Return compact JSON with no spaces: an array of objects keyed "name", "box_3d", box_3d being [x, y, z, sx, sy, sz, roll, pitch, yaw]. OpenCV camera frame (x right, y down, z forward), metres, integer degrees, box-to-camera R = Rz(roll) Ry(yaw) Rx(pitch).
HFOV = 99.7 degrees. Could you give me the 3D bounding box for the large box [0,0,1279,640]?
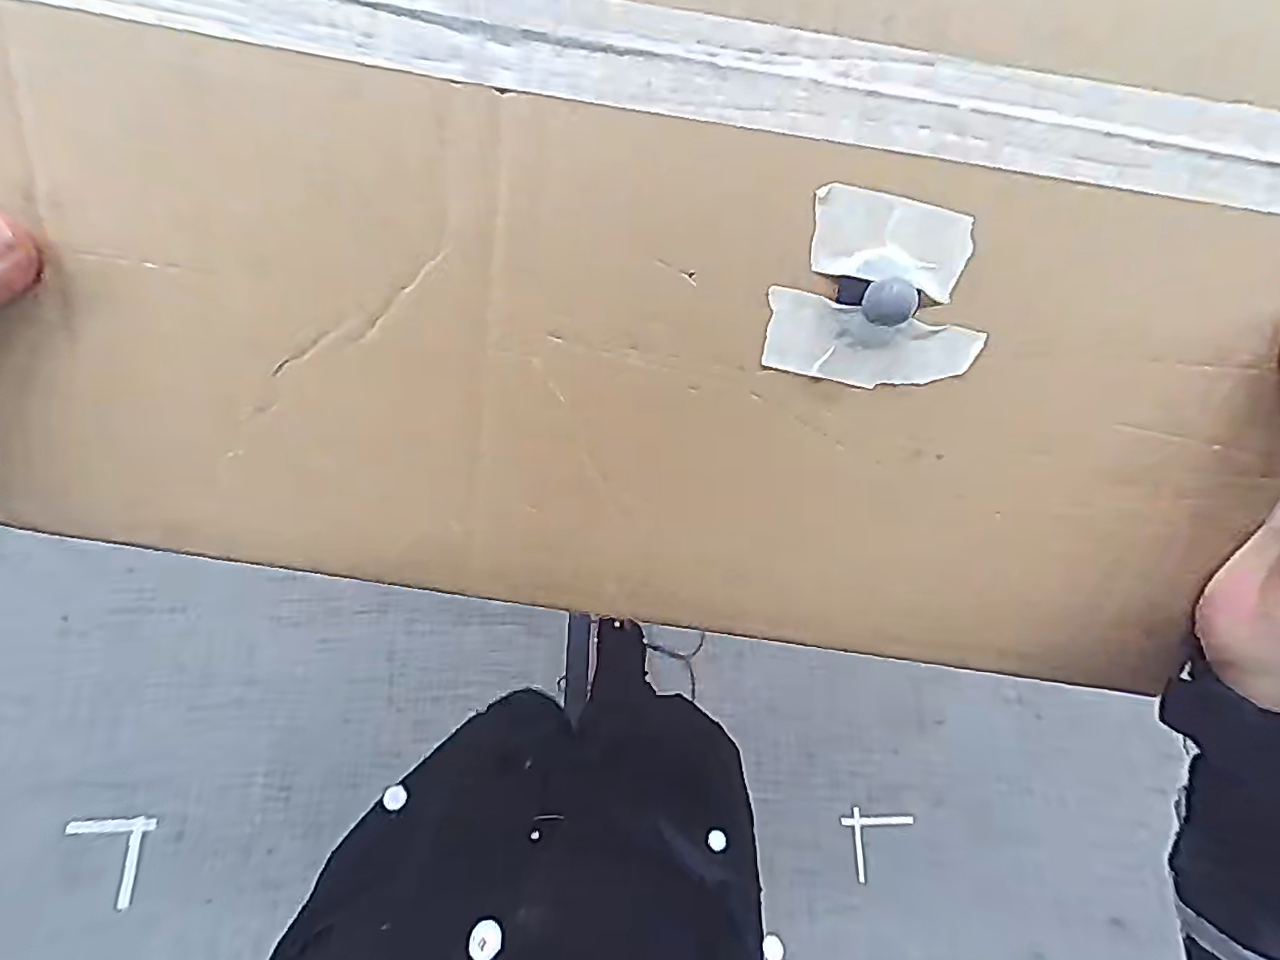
[{"name":"large box","box_3d":[0.008,-0.154,0.287,0.408,0.320,0.320,8,110,-2]}]
